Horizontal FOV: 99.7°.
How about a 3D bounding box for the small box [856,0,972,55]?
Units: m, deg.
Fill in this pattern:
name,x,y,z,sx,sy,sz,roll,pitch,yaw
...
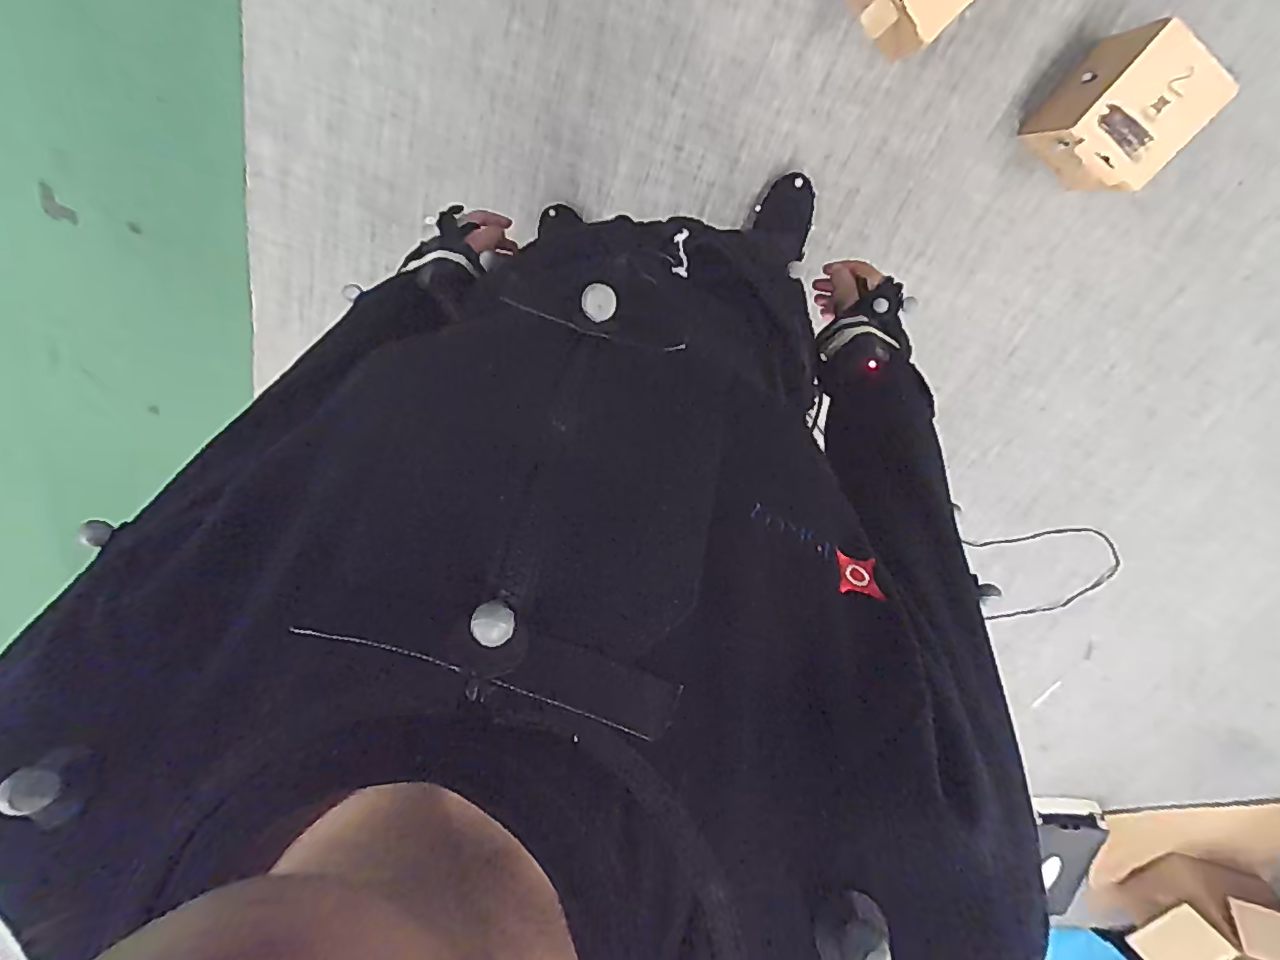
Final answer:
name,x,y,z,sx,sy,sz,roll,pitch,yaw
small box,0.454,-0.817,0.843,0.179,0.176,0.168,-39,110,25
